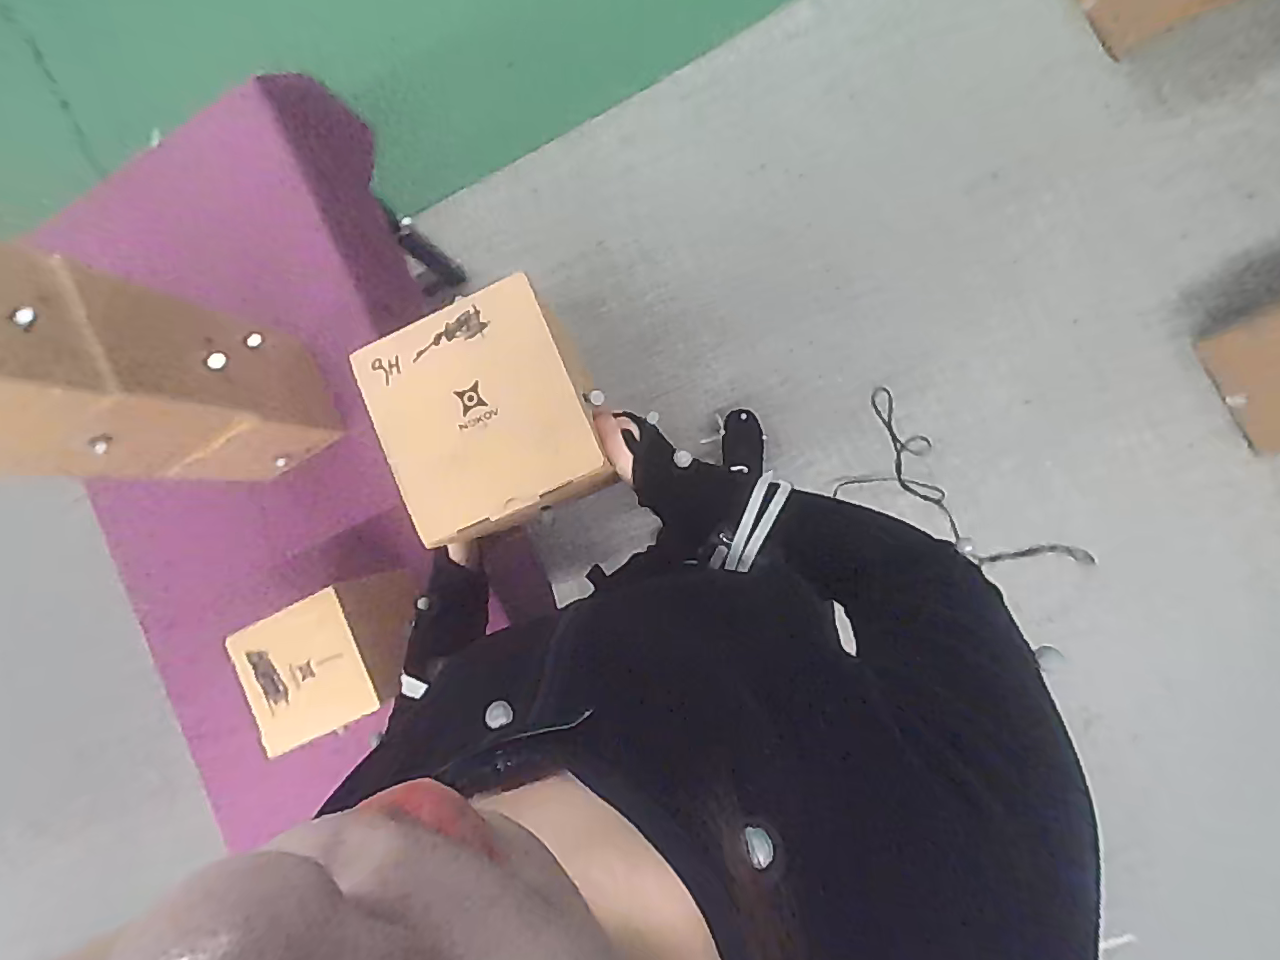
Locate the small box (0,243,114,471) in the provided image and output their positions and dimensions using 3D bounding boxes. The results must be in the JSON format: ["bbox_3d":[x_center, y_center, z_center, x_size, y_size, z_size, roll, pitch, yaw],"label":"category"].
[{"bbox_3d":[-0.646,-0.116,0.482,0.179,0.176,0.168,-31,85,7],"label":"small box"}]

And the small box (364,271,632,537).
[{"bbox_3d":[-0.117,-0.062,0.519,0.168,0.176,0.179,-22,87,5],"label":"small box"}]

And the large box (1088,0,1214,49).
[{"bbox_3d":[1.266,-1.285,1.183,0.408,0.320,0.320,-26,85,7],"label":"large box"}]

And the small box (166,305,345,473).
[{"bbox_3d":[-0.587,-0.121,0.802,0.168,0.176,0.179,-28,85,9],"label":"small box"}]

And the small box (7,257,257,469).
[{"bbox_3d":[-0.616,-0.120,0.642,0.179,0.176,0.168,-29,86,7],"label":"small box"}]

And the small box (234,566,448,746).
[{"bbox_3d":[-0.412,0.237,0.770,0.179,0.176,0.168,-26,85,8],"label":"small box"}]
